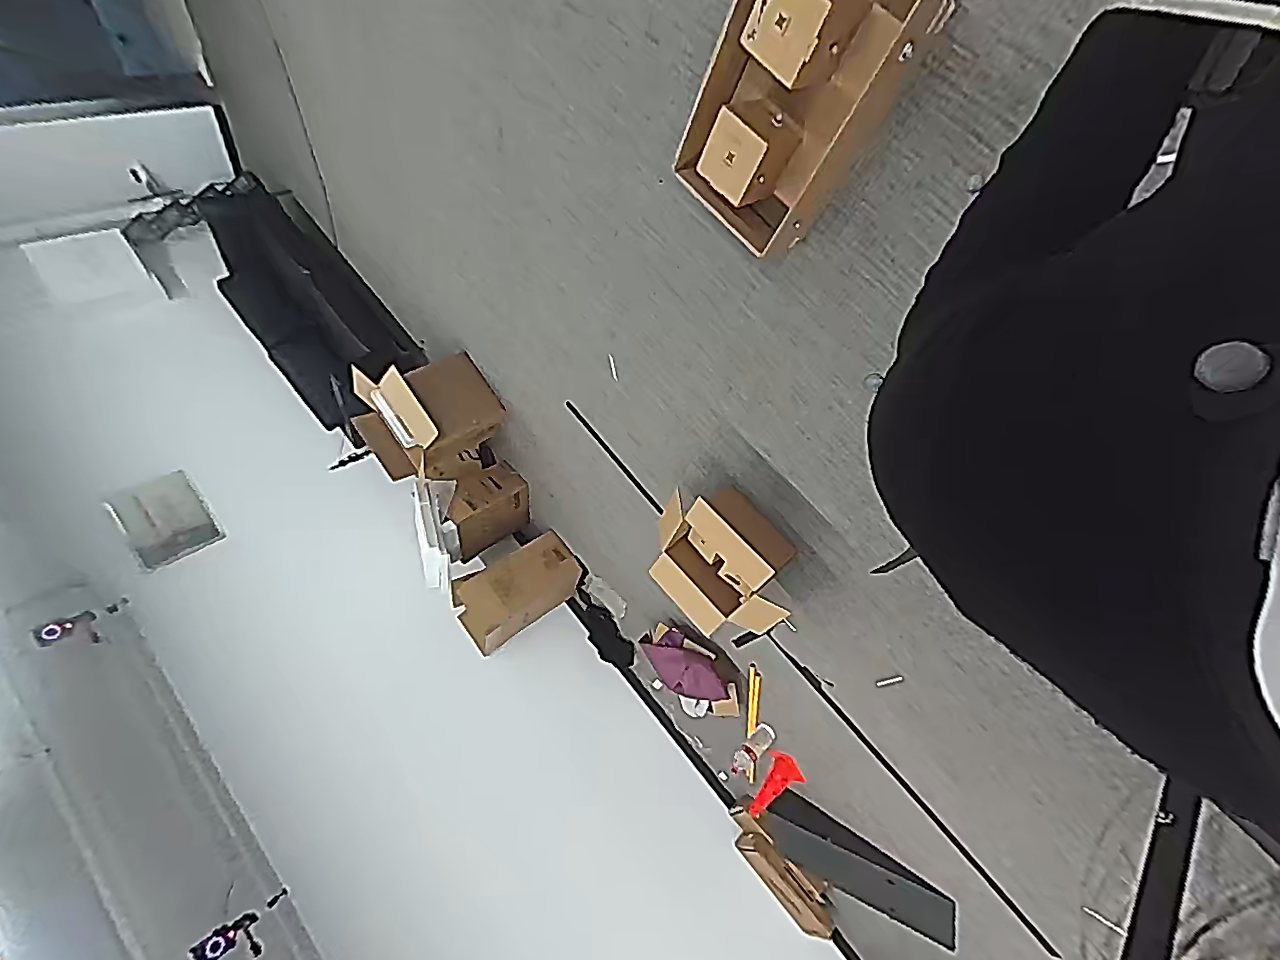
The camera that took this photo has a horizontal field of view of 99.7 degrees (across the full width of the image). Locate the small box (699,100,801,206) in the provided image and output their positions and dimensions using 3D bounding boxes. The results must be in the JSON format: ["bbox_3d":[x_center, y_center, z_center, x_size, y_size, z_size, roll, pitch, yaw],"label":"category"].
[{"bbox_3d":[0.294,-0.874,1.443,0.168,0.176,0.179,48,146,11],"label":"small box"}]

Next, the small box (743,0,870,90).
[{"bbox_3d":[0.372,-1.021,1.205,0.179,0.176,0.168,50,149,8],"label":"small box"}]
